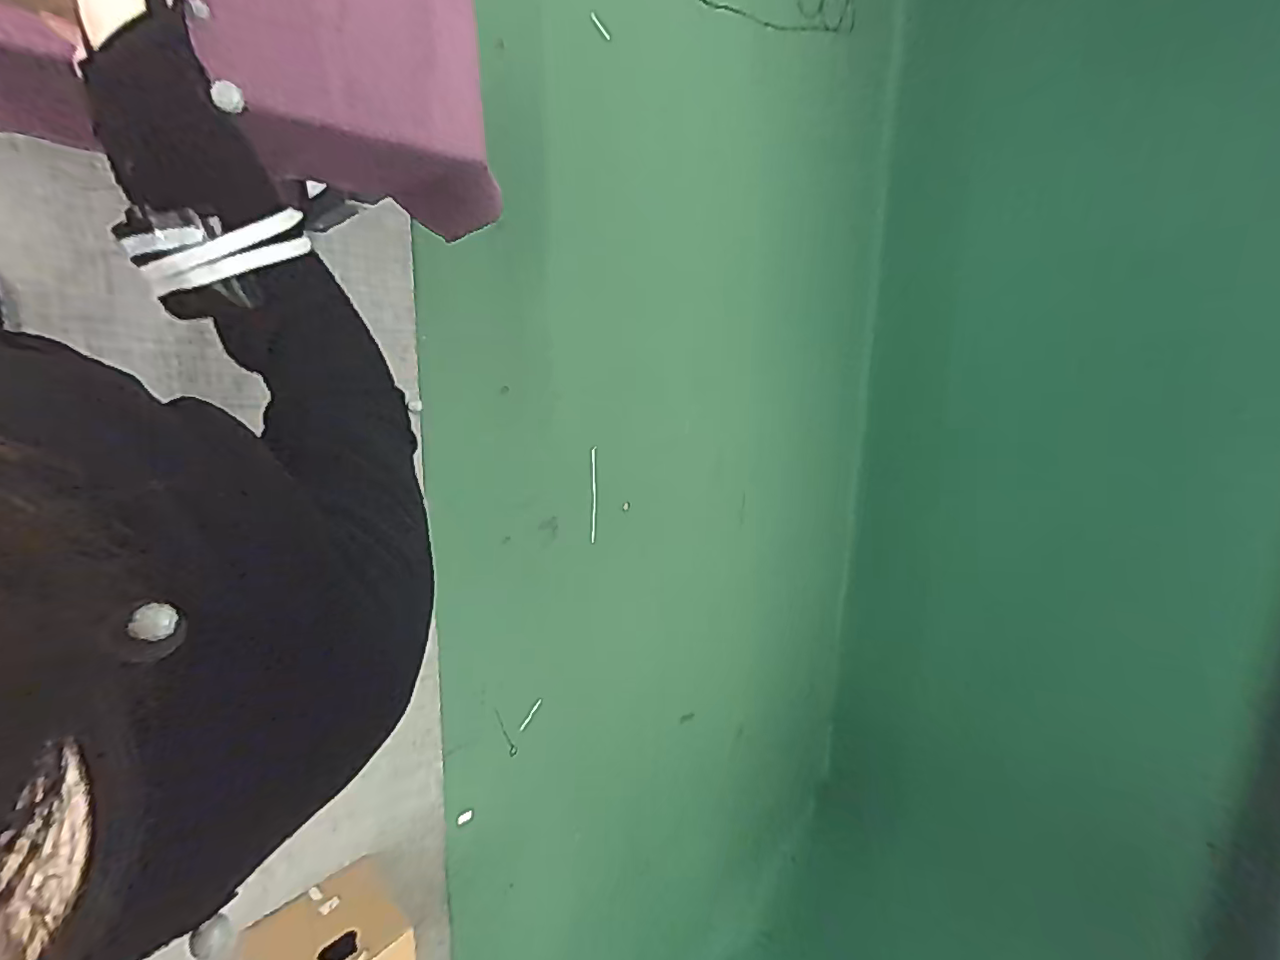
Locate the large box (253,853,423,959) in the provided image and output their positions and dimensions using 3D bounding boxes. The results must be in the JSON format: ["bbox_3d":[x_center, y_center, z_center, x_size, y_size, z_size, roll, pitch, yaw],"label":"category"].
[{"bbox_3d":[-0.803,1.354,1.467,0.320,0.320,0.408,-13,108,-45],"label":"large box"}]

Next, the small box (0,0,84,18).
[{"bbox_3d":[-0.375,-0.358,0.242,0.168,0.176,0.179,-5,117,-49],"label":"small box"}]
